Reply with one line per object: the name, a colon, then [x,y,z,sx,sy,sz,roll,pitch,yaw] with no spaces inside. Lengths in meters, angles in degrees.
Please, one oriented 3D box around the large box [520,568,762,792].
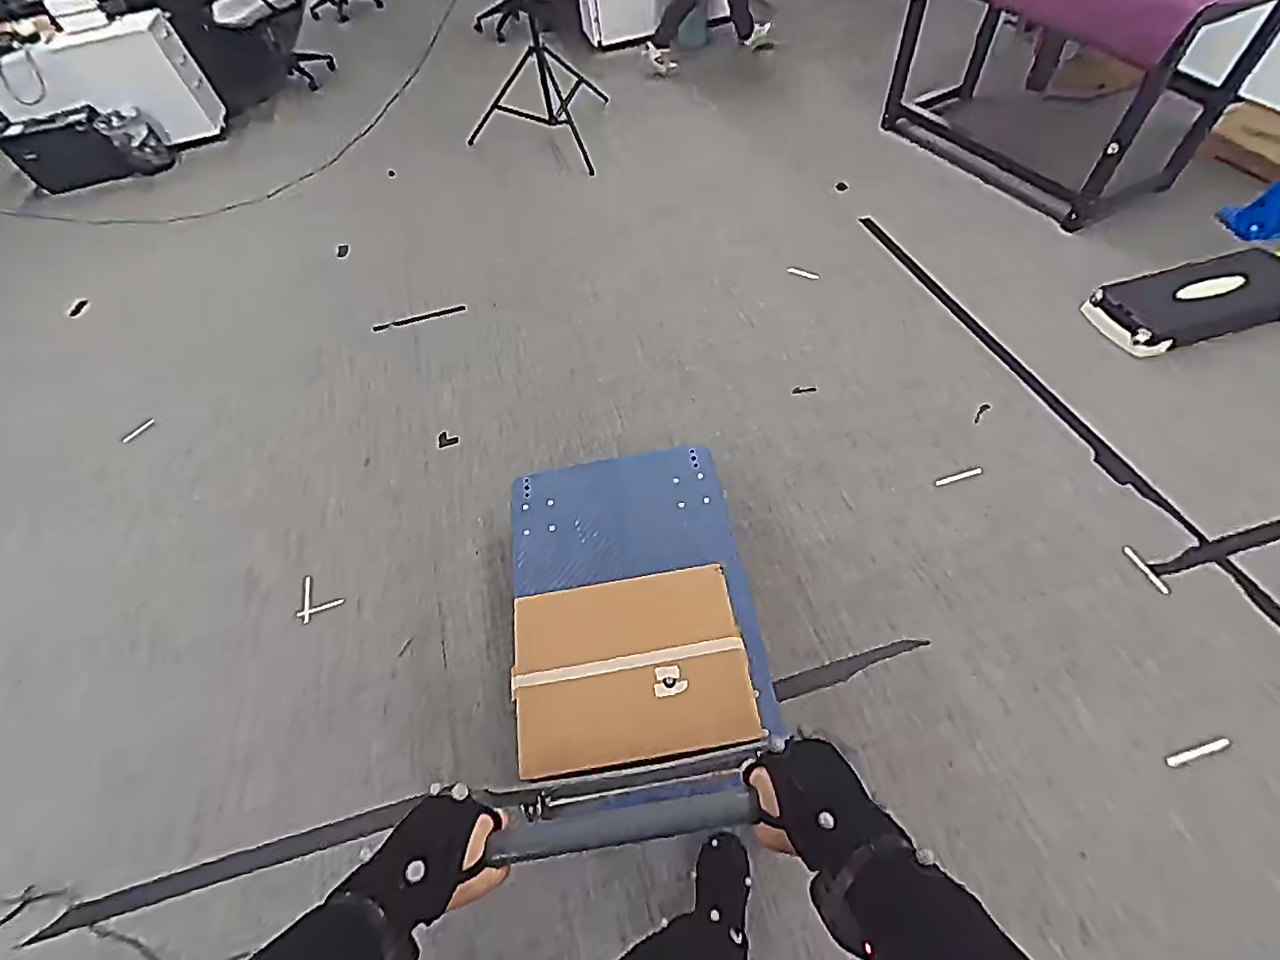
large box: [-0.004,0.414,1.097,0.408,0.320,0.320,-10,58,-2]
